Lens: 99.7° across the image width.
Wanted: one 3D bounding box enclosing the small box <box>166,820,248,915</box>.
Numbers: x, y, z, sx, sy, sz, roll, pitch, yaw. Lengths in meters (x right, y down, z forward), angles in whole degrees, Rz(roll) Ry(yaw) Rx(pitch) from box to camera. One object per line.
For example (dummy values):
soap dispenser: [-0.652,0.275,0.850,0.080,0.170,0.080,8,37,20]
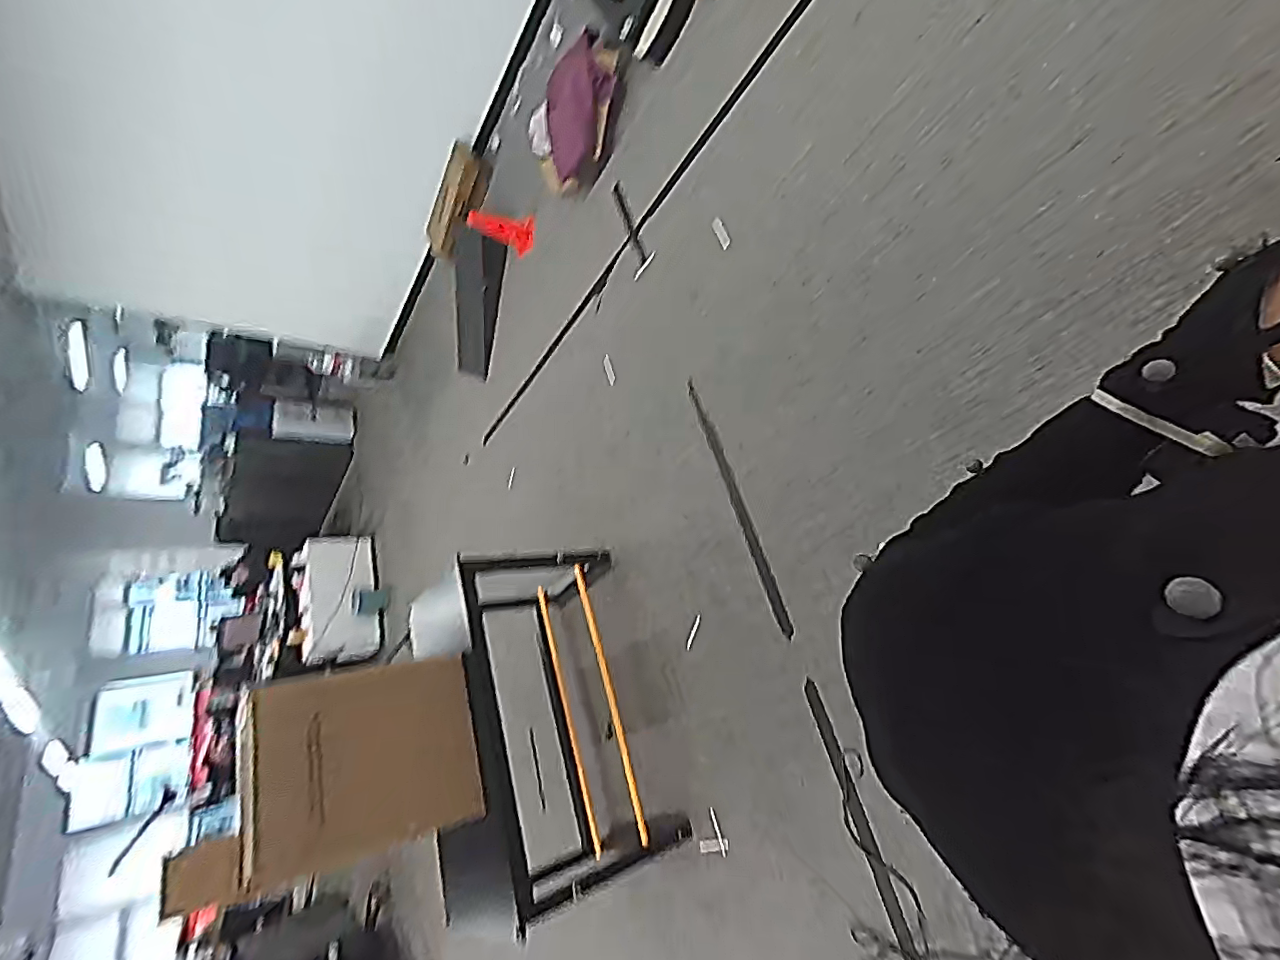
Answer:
small box: [-1.190,1.064,1.489,0.179,0.176,0.168,-45,55,40]
